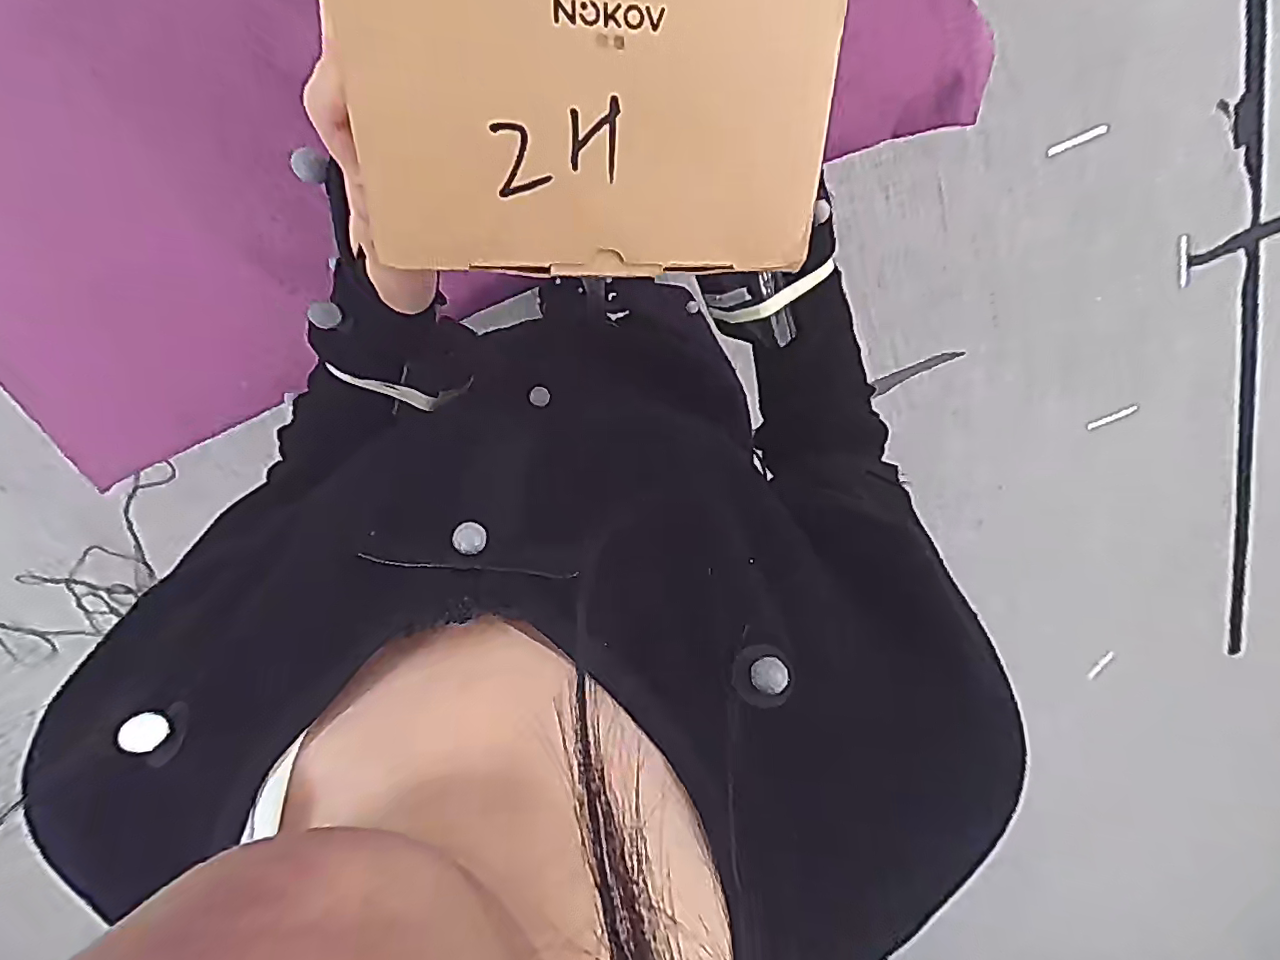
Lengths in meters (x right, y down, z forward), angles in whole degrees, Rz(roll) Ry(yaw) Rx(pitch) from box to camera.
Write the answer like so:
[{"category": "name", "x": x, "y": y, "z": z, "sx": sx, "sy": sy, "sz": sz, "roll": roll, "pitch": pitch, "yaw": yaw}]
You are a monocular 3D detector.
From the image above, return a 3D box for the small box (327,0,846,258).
[{"category": "small box", "x": -0.027, "y": -0.197, "z": 0.234, "sx": 0.168, "sy": 0.176, "sz": 0.179, "roll": -4, "pitch": 117, "yaw": -10}]
